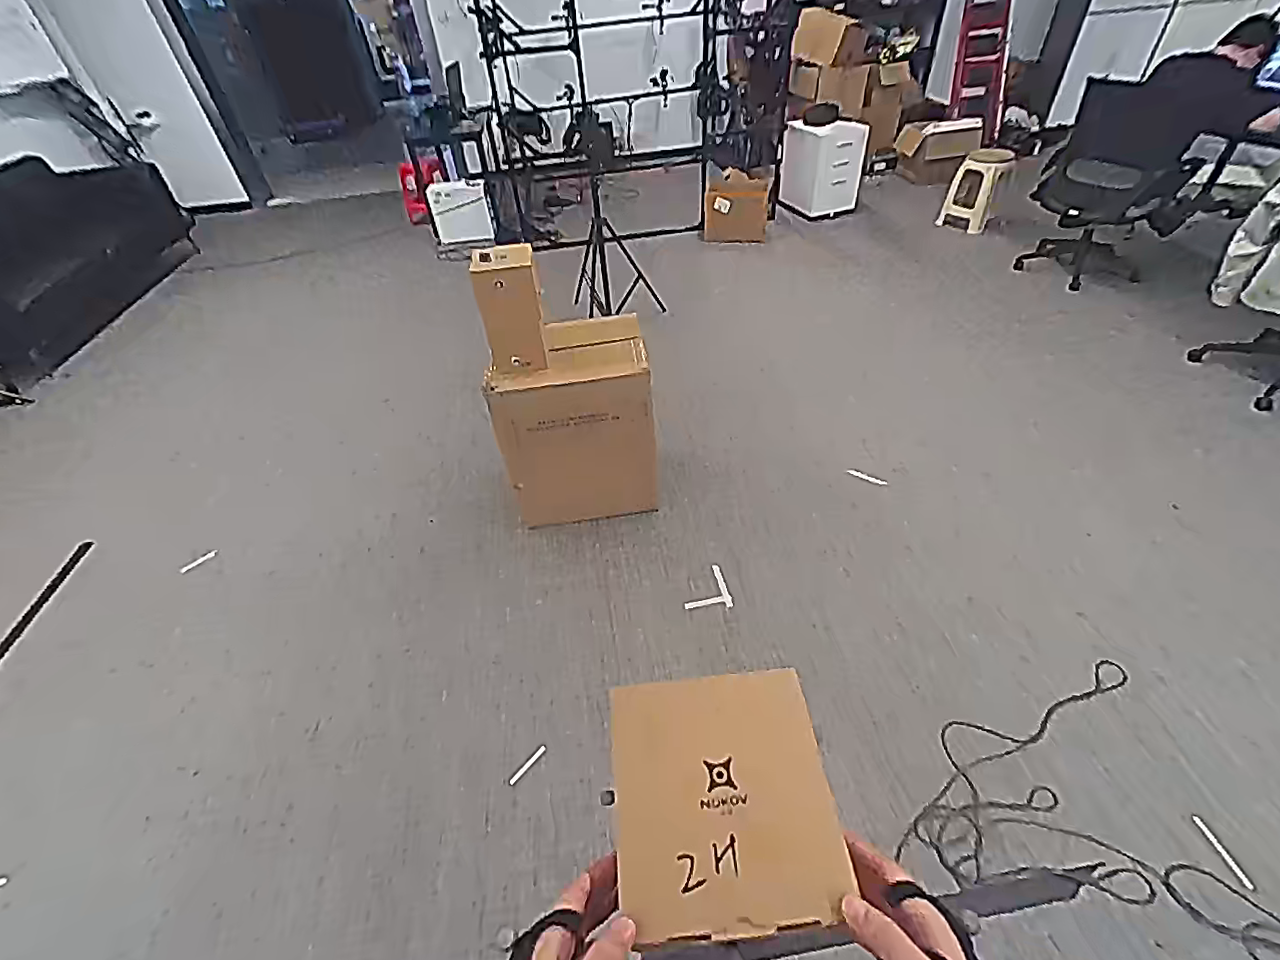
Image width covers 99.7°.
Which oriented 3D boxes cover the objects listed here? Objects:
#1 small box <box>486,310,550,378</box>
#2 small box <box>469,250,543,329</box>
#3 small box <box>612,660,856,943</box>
[{"bbox_3d":[-0.386,-0.449,1.735,0.168,0.176,0.179,-9,45,-3],"label":"small box"},{"bbox_3d":[-0.395,-0.567,1.620,0.179,0.176,0.168,-8,44,-4],"label":"small box"},{"bbox_3d":[0.065,0.285,0.481,0.168,0.176,0.179,-7,47,0],"label":"small box"}]
